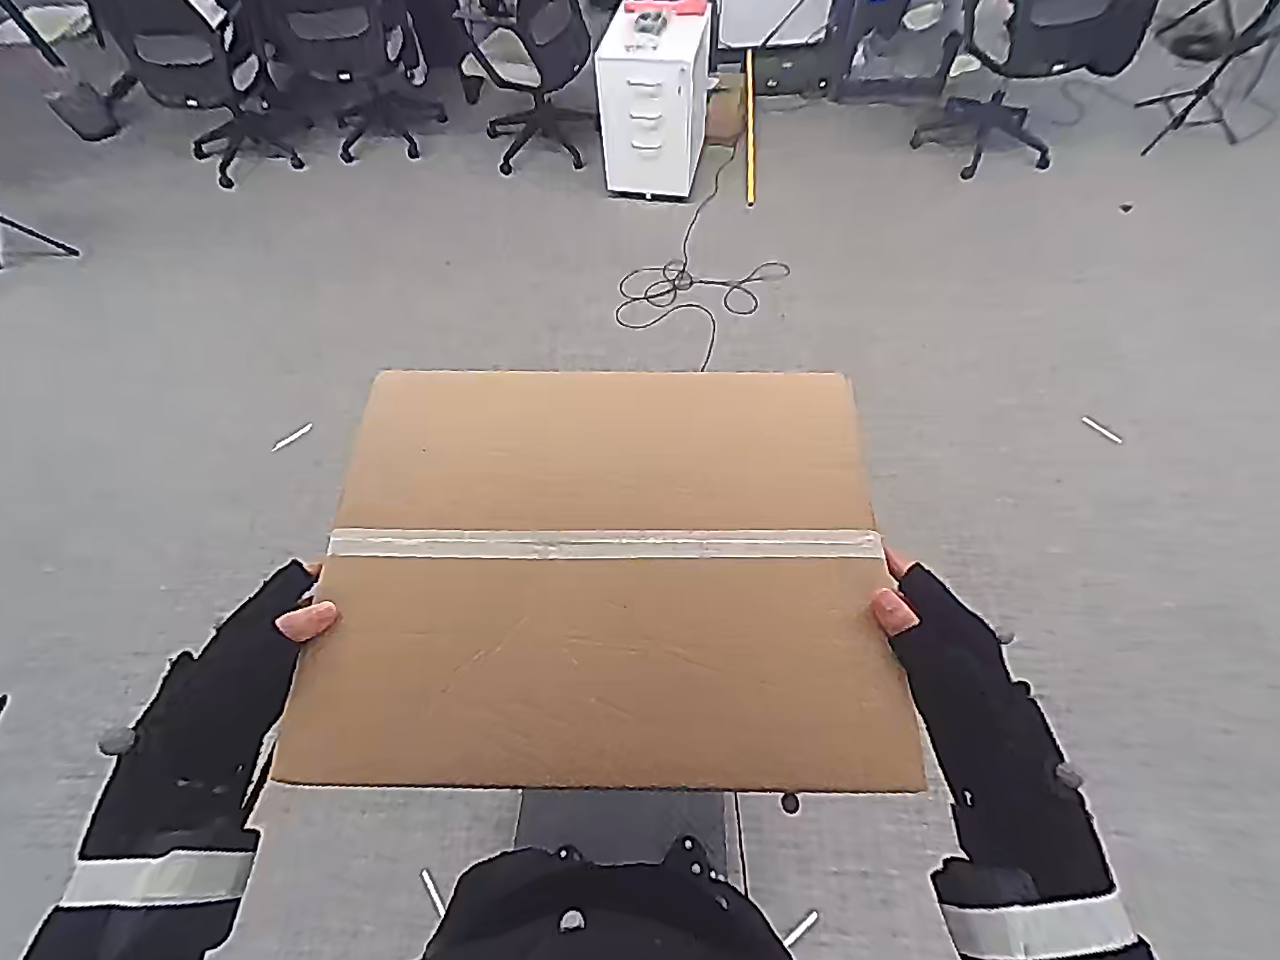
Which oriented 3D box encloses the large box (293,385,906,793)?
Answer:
[{"bbox_3d":[-0.024,0.119,0.543,0.408,0.320,0.320,1,64,0],"label":"large box"}]
